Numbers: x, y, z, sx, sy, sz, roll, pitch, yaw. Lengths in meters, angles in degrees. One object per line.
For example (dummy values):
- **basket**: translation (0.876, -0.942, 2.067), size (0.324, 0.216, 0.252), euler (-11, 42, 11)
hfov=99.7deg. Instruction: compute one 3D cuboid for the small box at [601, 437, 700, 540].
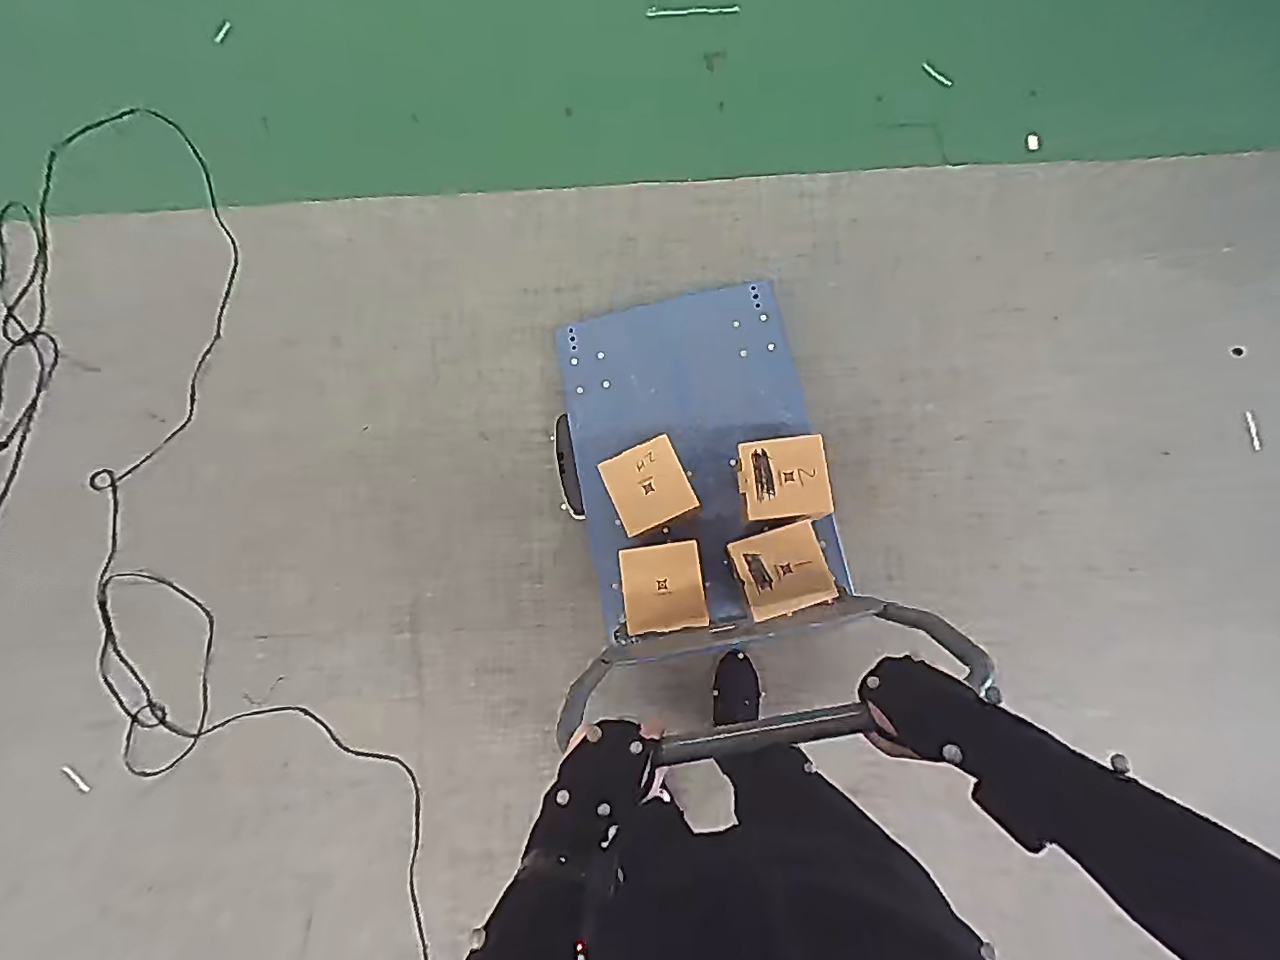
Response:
- **small box**: translation (0.029, 0.029, 1.221), size (0.168, 0.176, 0.179), euler (-24, 78, 1)
